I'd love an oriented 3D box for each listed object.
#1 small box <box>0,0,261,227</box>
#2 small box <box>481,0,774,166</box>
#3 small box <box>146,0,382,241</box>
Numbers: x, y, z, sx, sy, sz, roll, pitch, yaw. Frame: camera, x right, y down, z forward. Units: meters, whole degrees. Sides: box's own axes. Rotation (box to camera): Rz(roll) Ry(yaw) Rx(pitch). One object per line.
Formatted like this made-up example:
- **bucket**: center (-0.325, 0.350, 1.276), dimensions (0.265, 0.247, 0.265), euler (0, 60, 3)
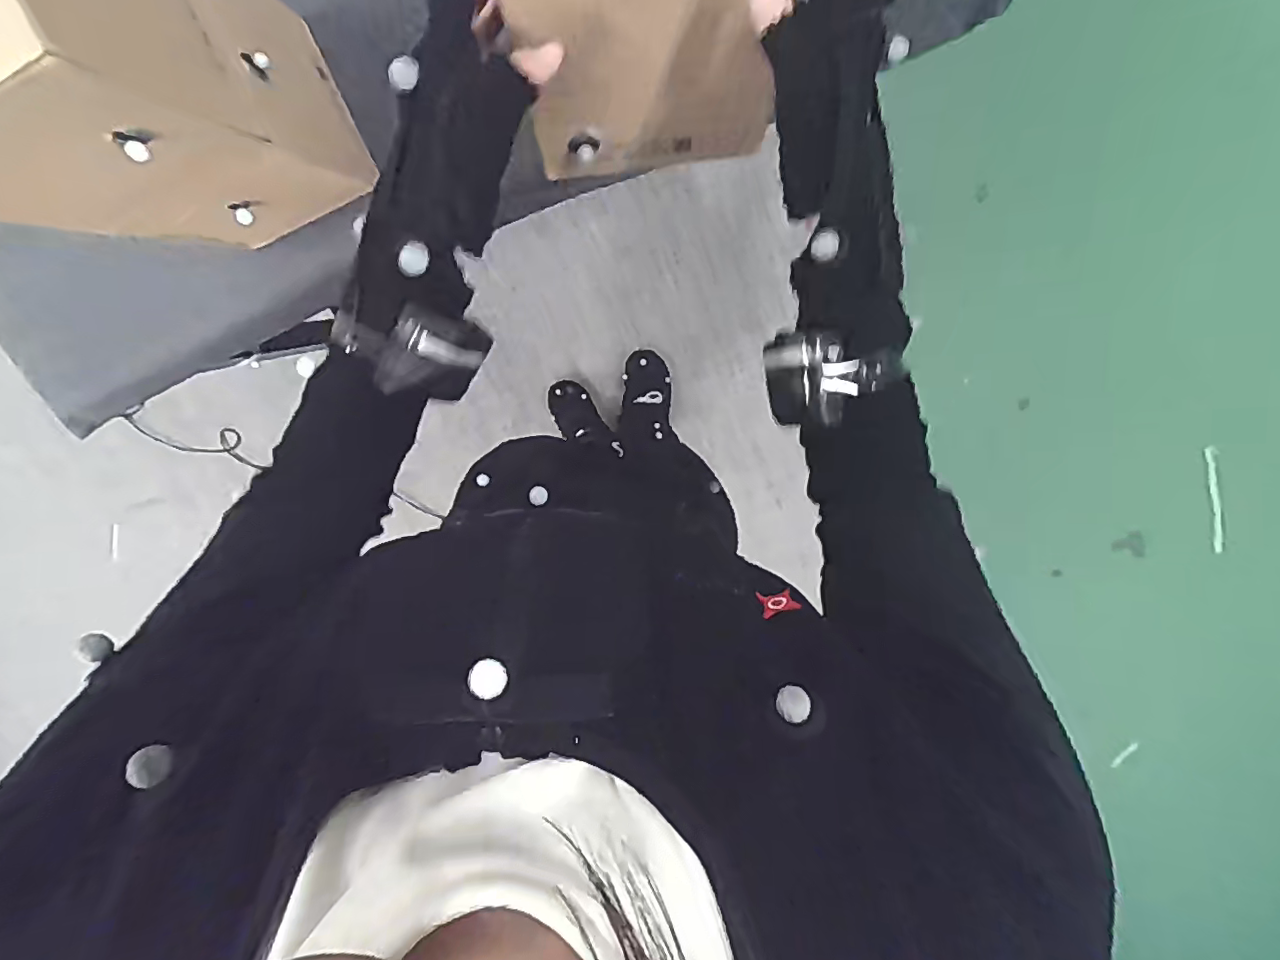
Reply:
- **small box**: center (-0.401, -0.293, 0.358), dimensions (0.179, 0.176, 0.168), euler (-20, 103, 11)
- **small box**: center (-0.008, -0.333, 0.349), dimensions (0.168, 0.176, 0.179), euler (-6, 79, 1)
- **small box**: center (-0.390, -0.345, 0.511), dimensions (0.179, 0.176, 0.168), euler (-20, 105, 11)
